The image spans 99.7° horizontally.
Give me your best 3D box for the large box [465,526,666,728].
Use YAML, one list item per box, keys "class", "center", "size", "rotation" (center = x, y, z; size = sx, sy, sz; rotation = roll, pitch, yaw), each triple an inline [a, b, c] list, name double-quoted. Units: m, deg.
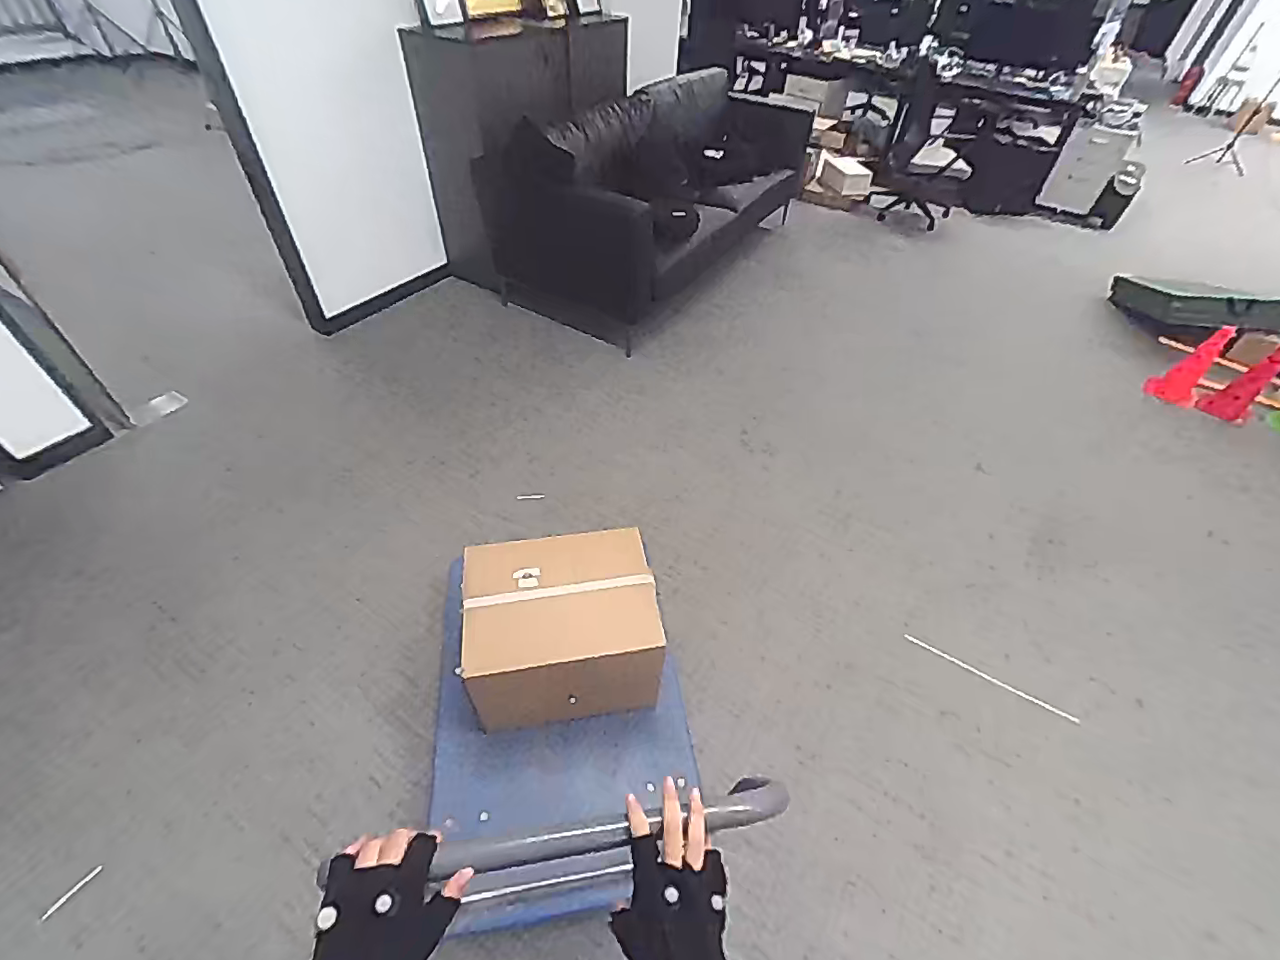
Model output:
- class: "large box"
  center: [-0.176, 0.344, 1.272]
  size: [0.408, 0.320, 0.320]
  rotation: [-7, 47, -10]
